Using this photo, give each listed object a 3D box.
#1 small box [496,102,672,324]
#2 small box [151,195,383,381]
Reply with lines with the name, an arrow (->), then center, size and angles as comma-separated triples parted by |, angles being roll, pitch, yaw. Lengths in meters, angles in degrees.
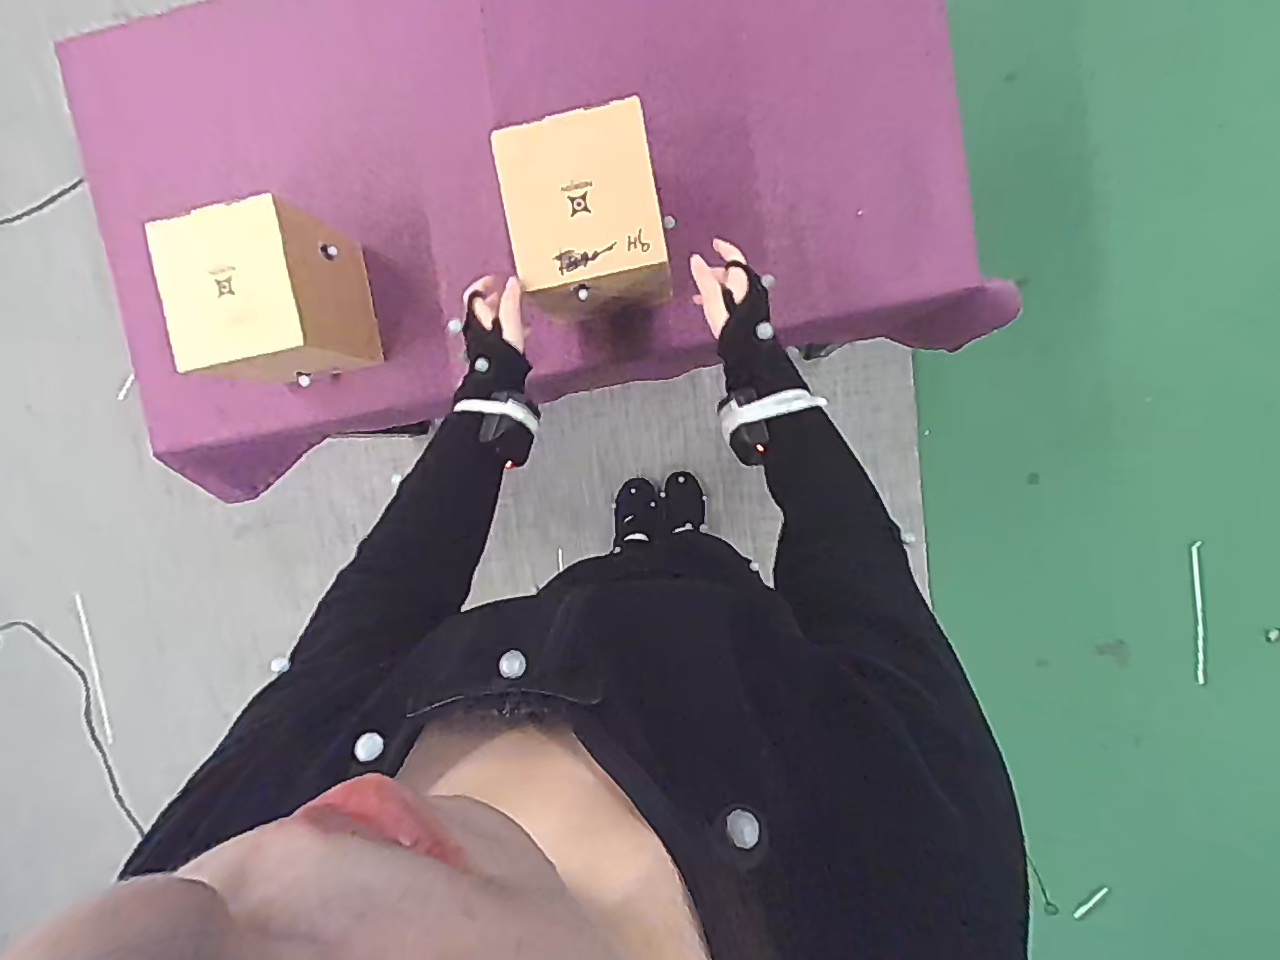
small box -> -0.057, -0.308, 0.662 | 0.168, 0.176, 0.179 | -10, 94, 7
small box -> -0.468, -0.234, 0.705 | 0.168, 0.176, 0.179 | -9, 95, 6
